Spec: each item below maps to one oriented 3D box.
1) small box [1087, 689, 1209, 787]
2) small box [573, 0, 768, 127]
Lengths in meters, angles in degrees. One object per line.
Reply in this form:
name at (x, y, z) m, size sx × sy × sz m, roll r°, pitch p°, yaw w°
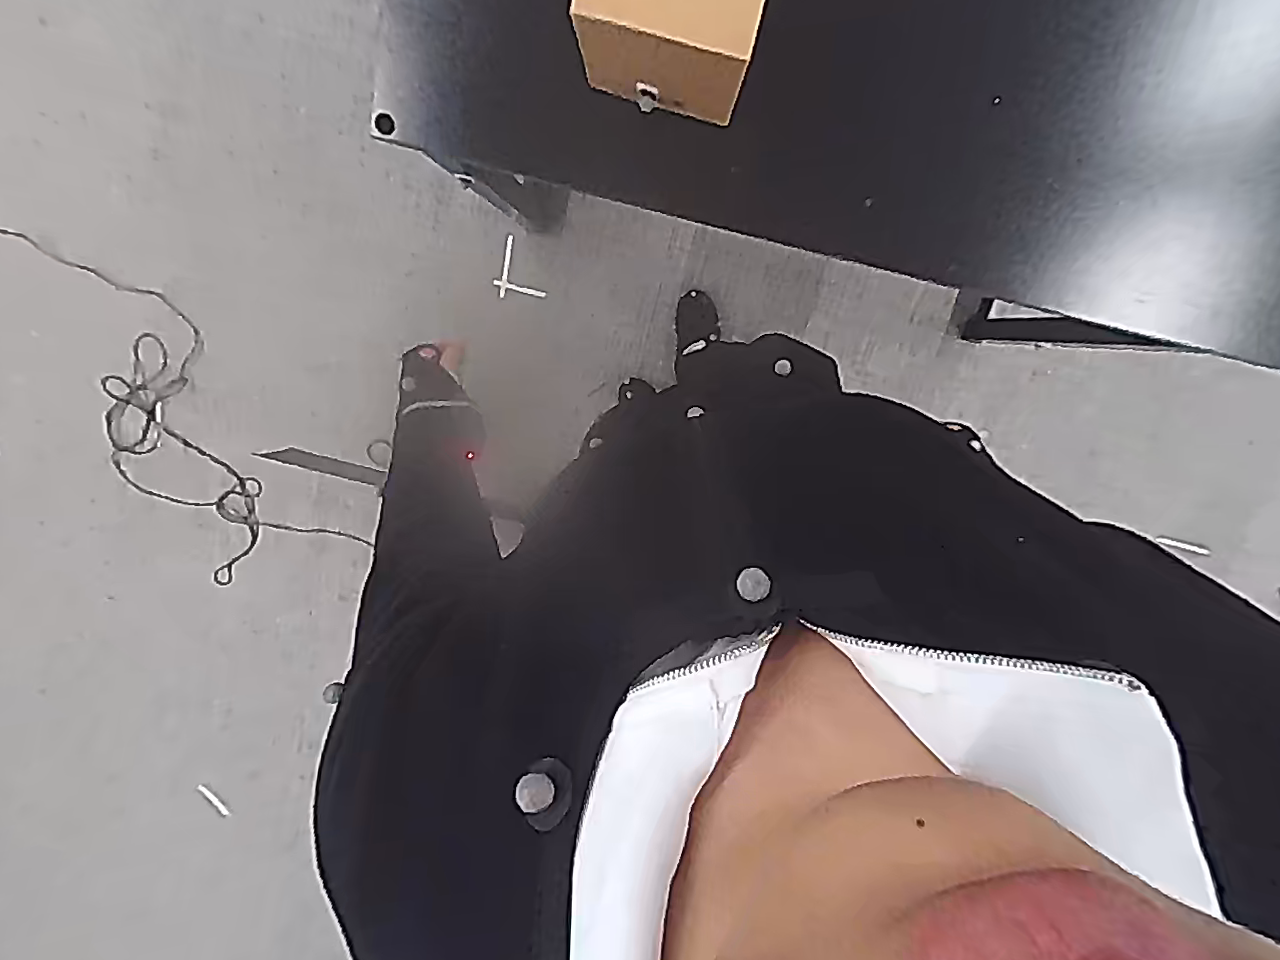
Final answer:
small box at (1.480, 0.755, 1.592) m, size 0.168 × 0.176 × 0.179 m, roll 13°, pitch 106°, yaw -2°
small box at (0.042, -0.485, 0.525) m, size 0.168 × 0.176 × 0.179 m, roll 14°, pitch 106°, yaw -1°
